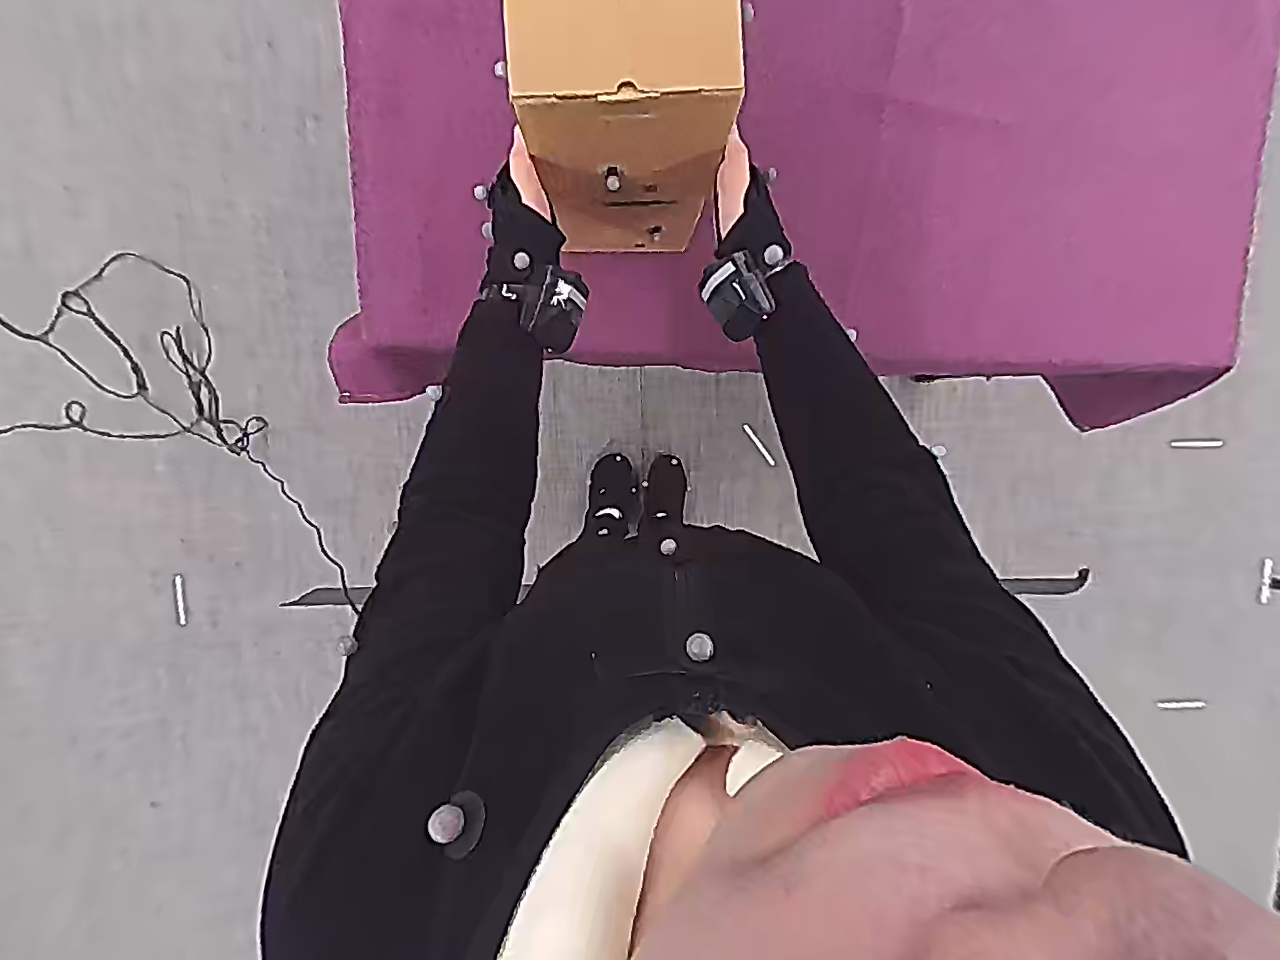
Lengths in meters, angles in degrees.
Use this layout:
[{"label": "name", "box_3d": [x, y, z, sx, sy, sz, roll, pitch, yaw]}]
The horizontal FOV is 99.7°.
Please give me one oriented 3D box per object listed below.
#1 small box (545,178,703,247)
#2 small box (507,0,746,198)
[{"label": "small box", "box_3d": [-0.019, -0.381, 0.624, 0.168, 0.176, 0.179, -1, 97, -4]}, {"label": "small box", "box_3d": [-0.014, -0.361, 0.447, 0.168, 0.176, 0.179, -4, 96, -1]}]
